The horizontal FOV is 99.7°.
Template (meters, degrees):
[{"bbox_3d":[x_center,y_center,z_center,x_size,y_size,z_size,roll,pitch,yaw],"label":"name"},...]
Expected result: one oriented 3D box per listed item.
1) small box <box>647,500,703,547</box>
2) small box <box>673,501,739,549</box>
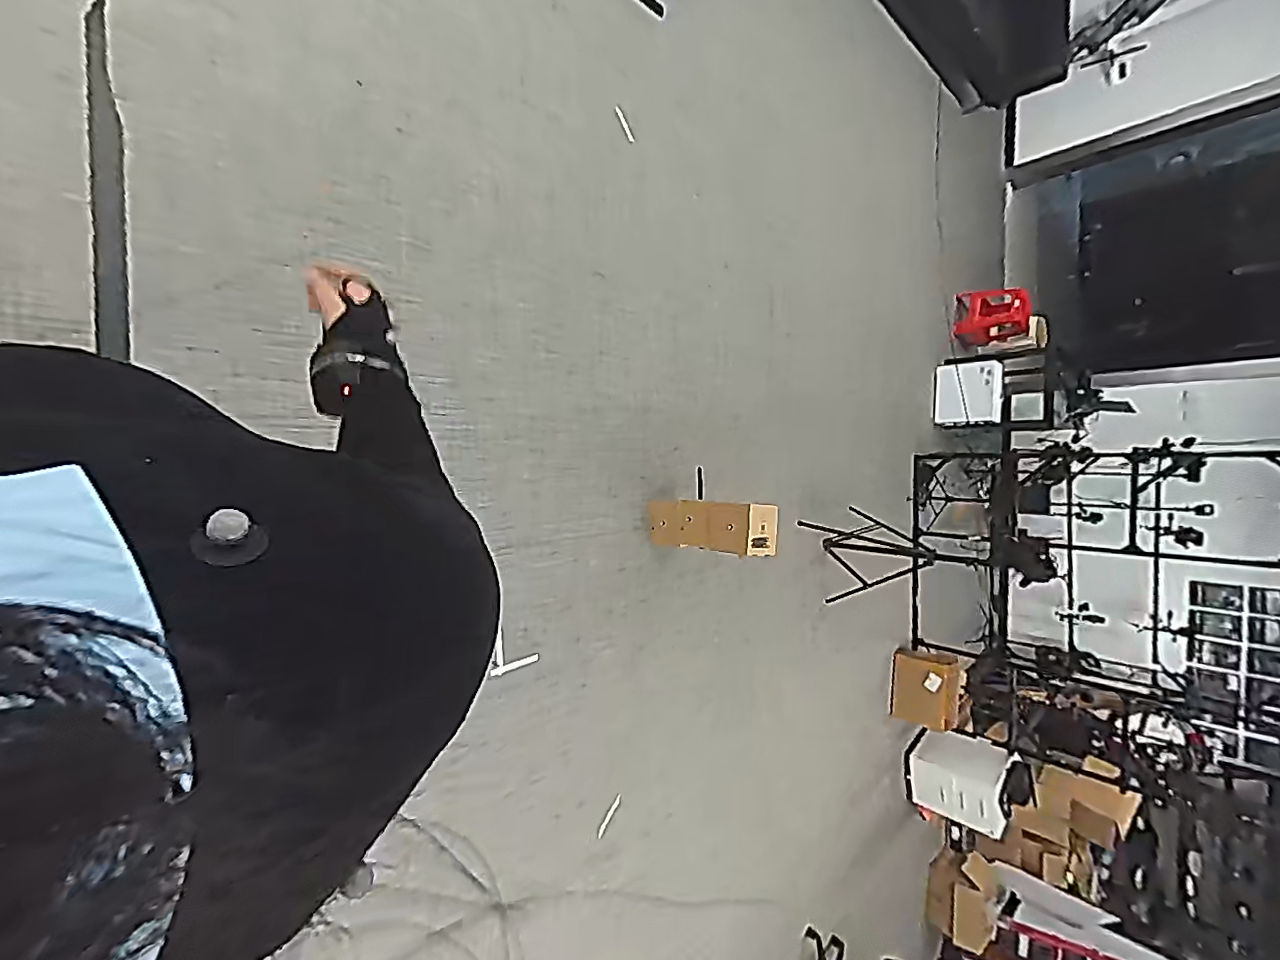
[{"bbox_3d":[0.139,0.169,2.148,0.179,0.176,0.168,-6,95,-44],"label":"small box"},{"bbox_3d":[0.247,0.167,2.027,0.179,0.176,0.168,4,88,-43],"label":"small box"}]
